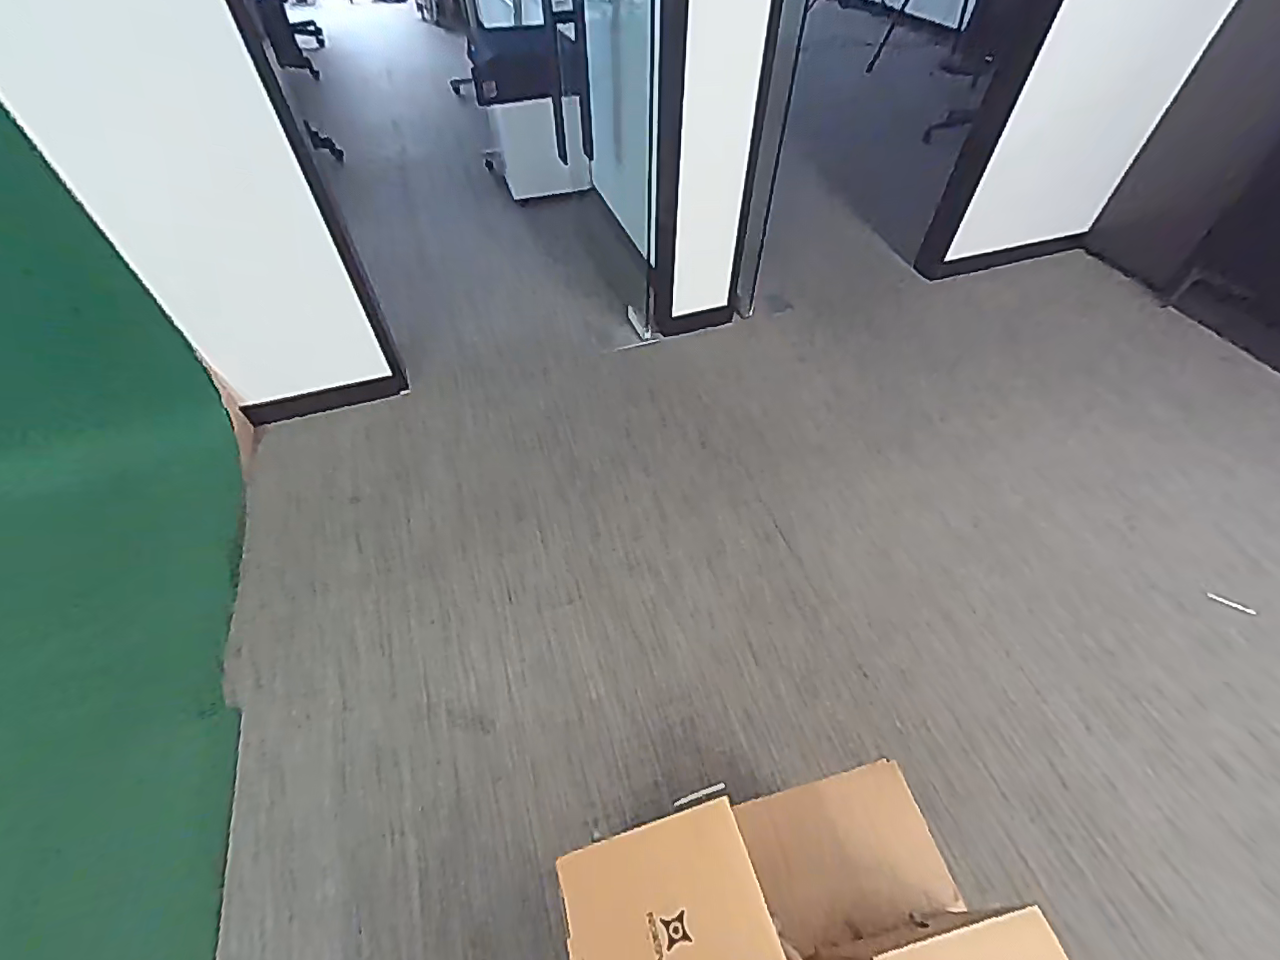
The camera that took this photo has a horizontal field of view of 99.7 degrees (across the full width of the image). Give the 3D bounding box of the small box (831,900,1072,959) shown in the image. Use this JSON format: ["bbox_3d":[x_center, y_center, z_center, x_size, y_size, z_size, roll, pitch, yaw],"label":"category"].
[{"bbox_3d":[0.294,0.505,0.477,0.168,0.176,0.179,-9,50,-8],"label":"small box"}]

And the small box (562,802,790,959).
[{"bbox_3d":[0.036,0.445,0.527,0.179,0.176,0.168,-16,49,-7],"label":"small box"}]
